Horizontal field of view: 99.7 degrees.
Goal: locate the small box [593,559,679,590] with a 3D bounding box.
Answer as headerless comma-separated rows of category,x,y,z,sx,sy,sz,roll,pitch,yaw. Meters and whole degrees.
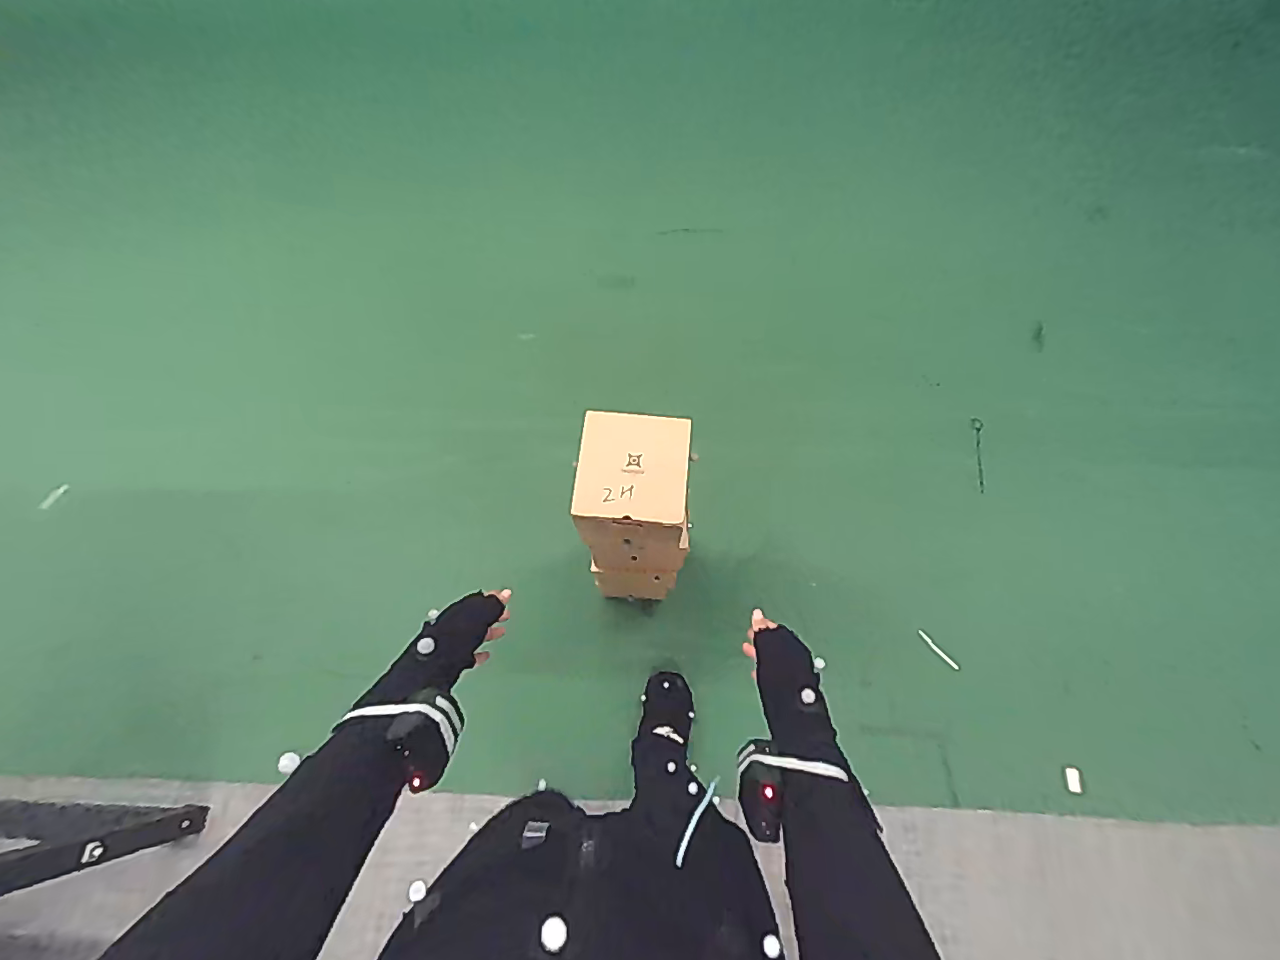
small box,-0.003,0.145,1.184,0.179,0.176,0.168,2,69,1

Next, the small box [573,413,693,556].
small box,-0.008,0.012,0.883,0.168,0.176,0.179,5,69,3

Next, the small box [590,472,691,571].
small box,0.002,0.075,1.035,0.179,0.176,0.168,0,68,1
